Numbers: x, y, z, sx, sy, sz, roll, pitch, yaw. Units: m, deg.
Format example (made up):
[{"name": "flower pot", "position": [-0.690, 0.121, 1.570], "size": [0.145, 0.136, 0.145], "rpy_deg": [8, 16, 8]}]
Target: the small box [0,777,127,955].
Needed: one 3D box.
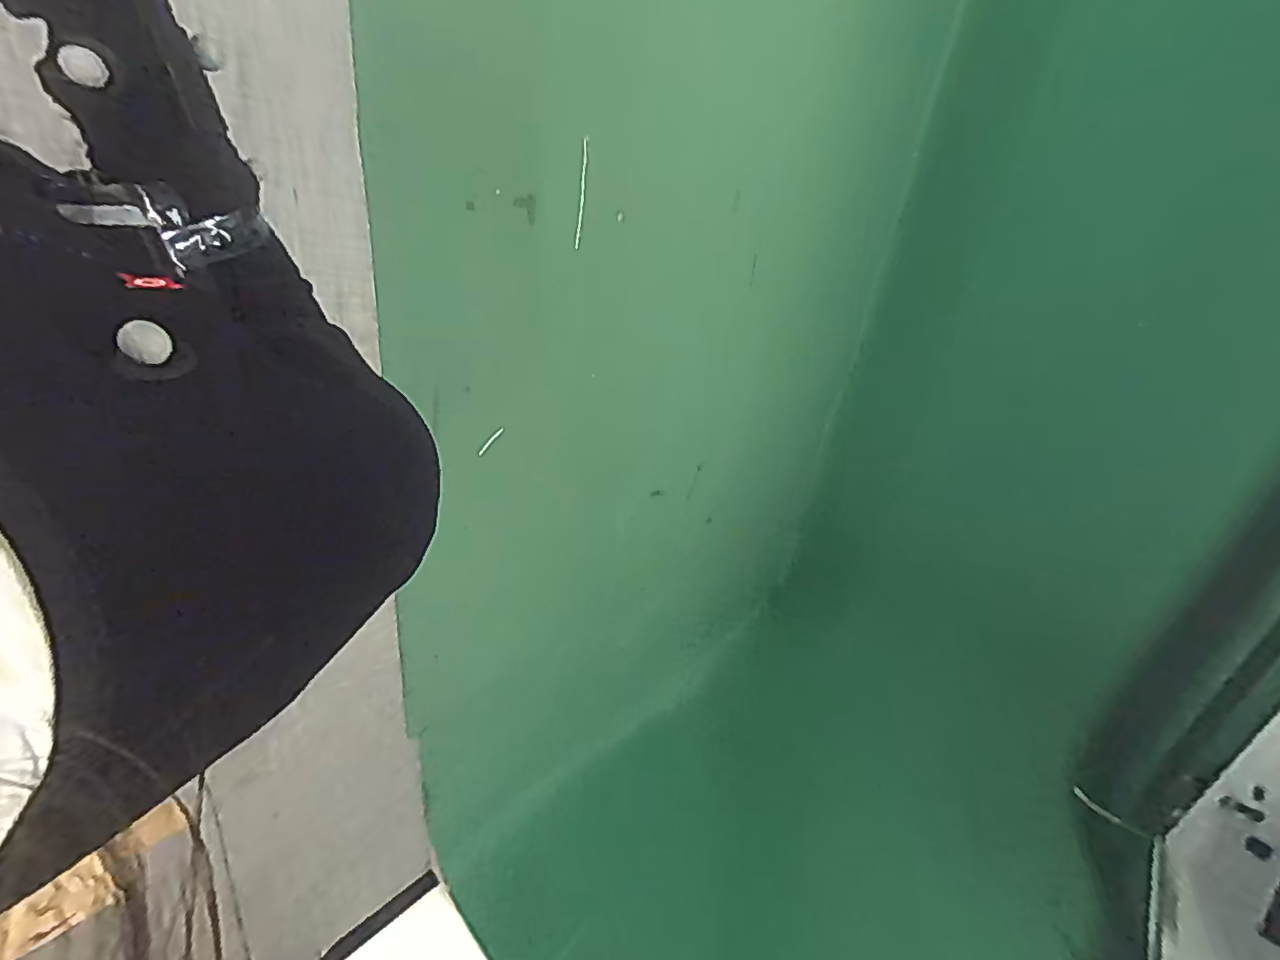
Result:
[{"name": "small box", "position": [-1.081, 0.681, 0.979], "size": [0.168, 0.176, 0.179], "rpy_deg": [-23, 129, -42]}]
